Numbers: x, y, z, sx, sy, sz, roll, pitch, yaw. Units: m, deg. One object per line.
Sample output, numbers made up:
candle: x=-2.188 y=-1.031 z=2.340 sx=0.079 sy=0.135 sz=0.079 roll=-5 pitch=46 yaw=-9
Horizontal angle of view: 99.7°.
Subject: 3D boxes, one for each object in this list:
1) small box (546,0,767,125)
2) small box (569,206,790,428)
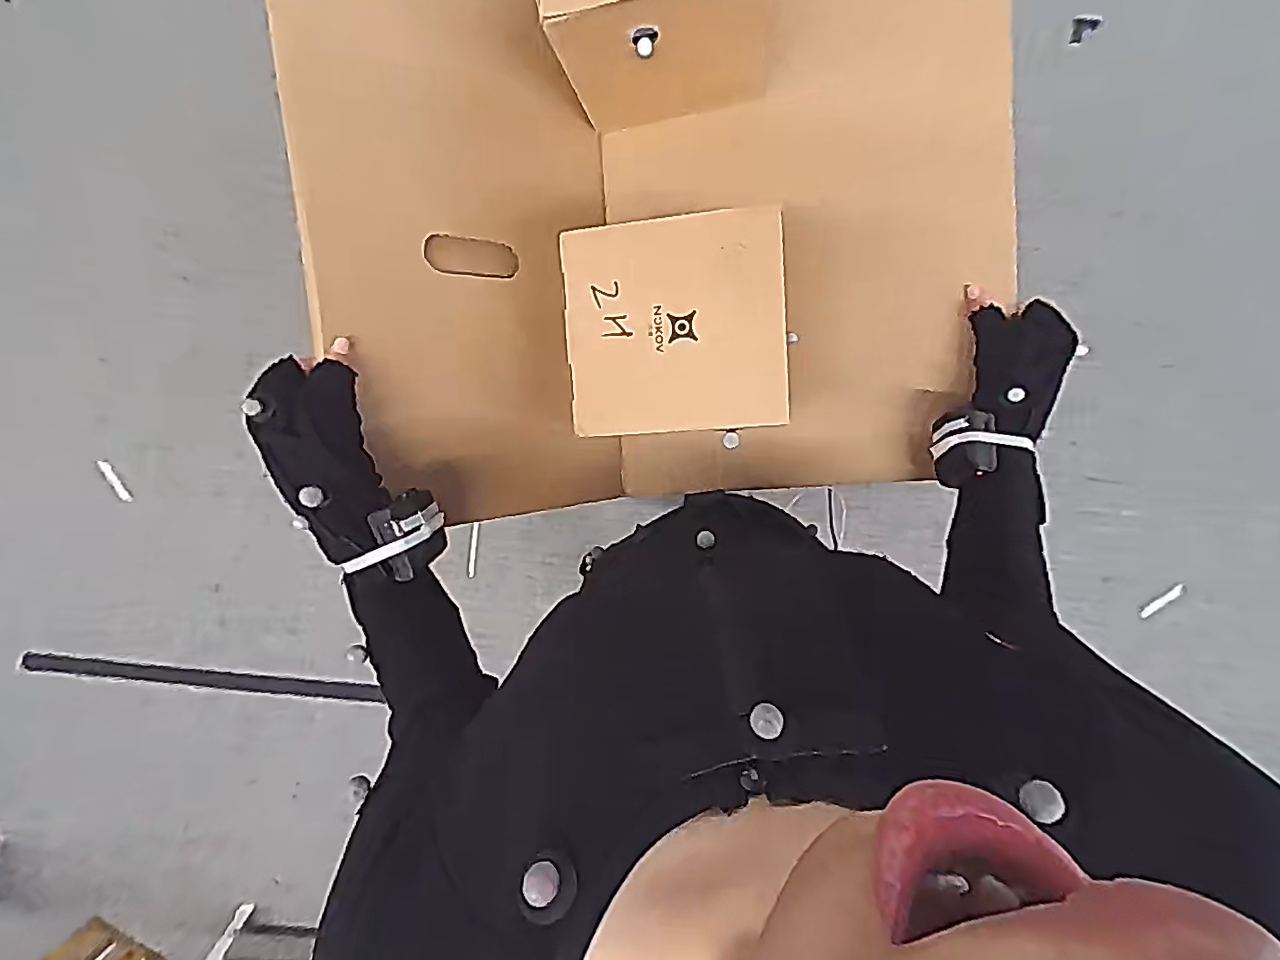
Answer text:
small box: x=0.021 y=-0.453 z=0.482 sx=0.179 sy=0.176 sz=0.168 roll=-4 pitch=95 yaw=11
small box: x=0.044 y=-0.136 z=0.511 sx=0.179 sy=0.176 sz=0.168 roll=-1 pitch=96 yaw=11
